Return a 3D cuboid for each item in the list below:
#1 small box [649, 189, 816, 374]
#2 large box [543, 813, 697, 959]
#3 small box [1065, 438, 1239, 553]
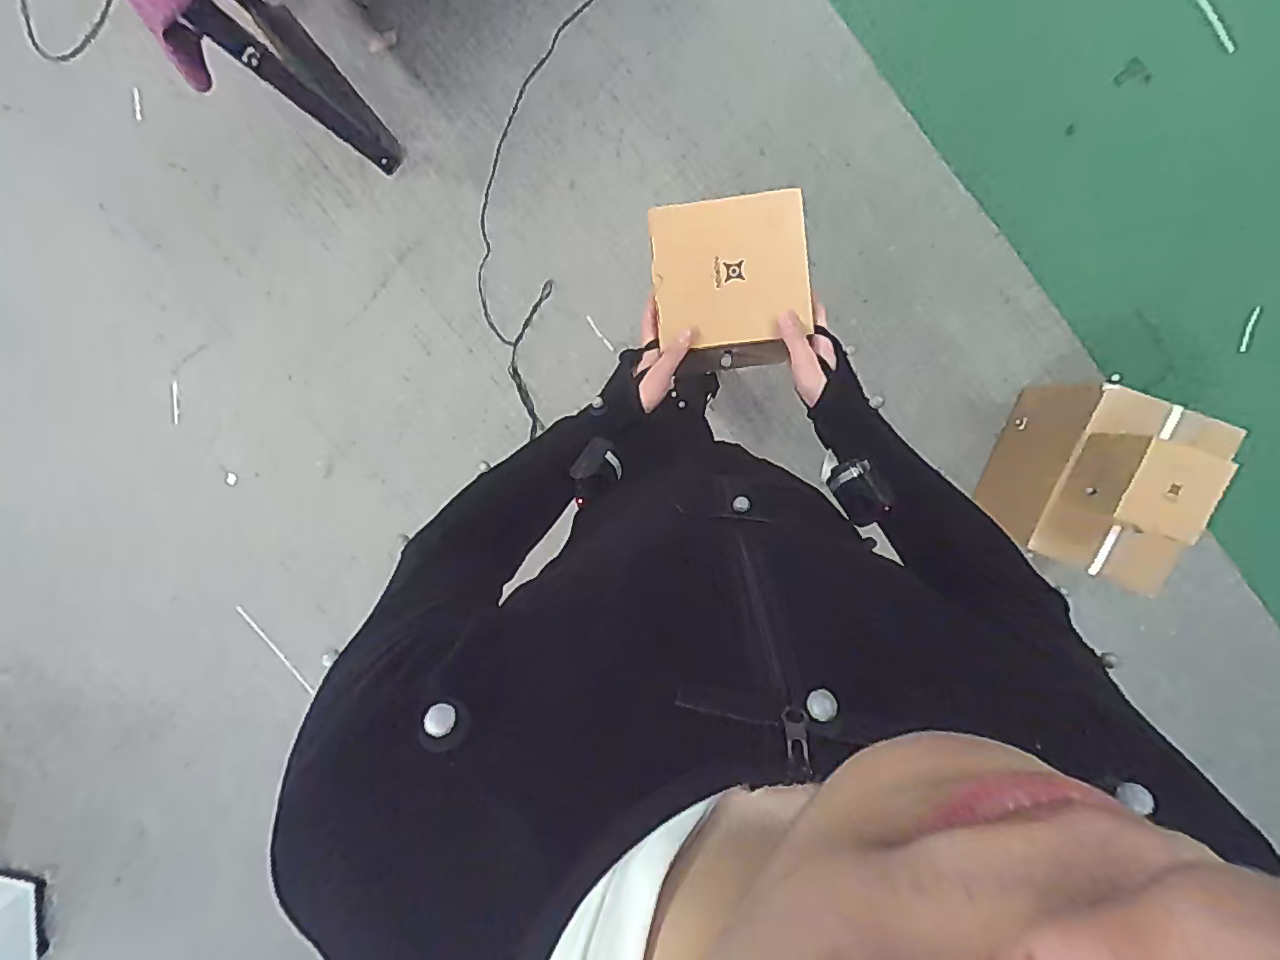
[{"bbox_3d":[0.109,-0.235,0.683,0.179,0.176,0.168,-6,91,6],"label":"small box"},{"bbox_3d":[-0.045,1.269,1.644,0.408,0.320,0.320,-6,98,5],"label":"large box"},{"bbox_3d":[1.033,0.024,1.114,0.168,0.176,0.179,21,99,3],"label":"small box"}]
